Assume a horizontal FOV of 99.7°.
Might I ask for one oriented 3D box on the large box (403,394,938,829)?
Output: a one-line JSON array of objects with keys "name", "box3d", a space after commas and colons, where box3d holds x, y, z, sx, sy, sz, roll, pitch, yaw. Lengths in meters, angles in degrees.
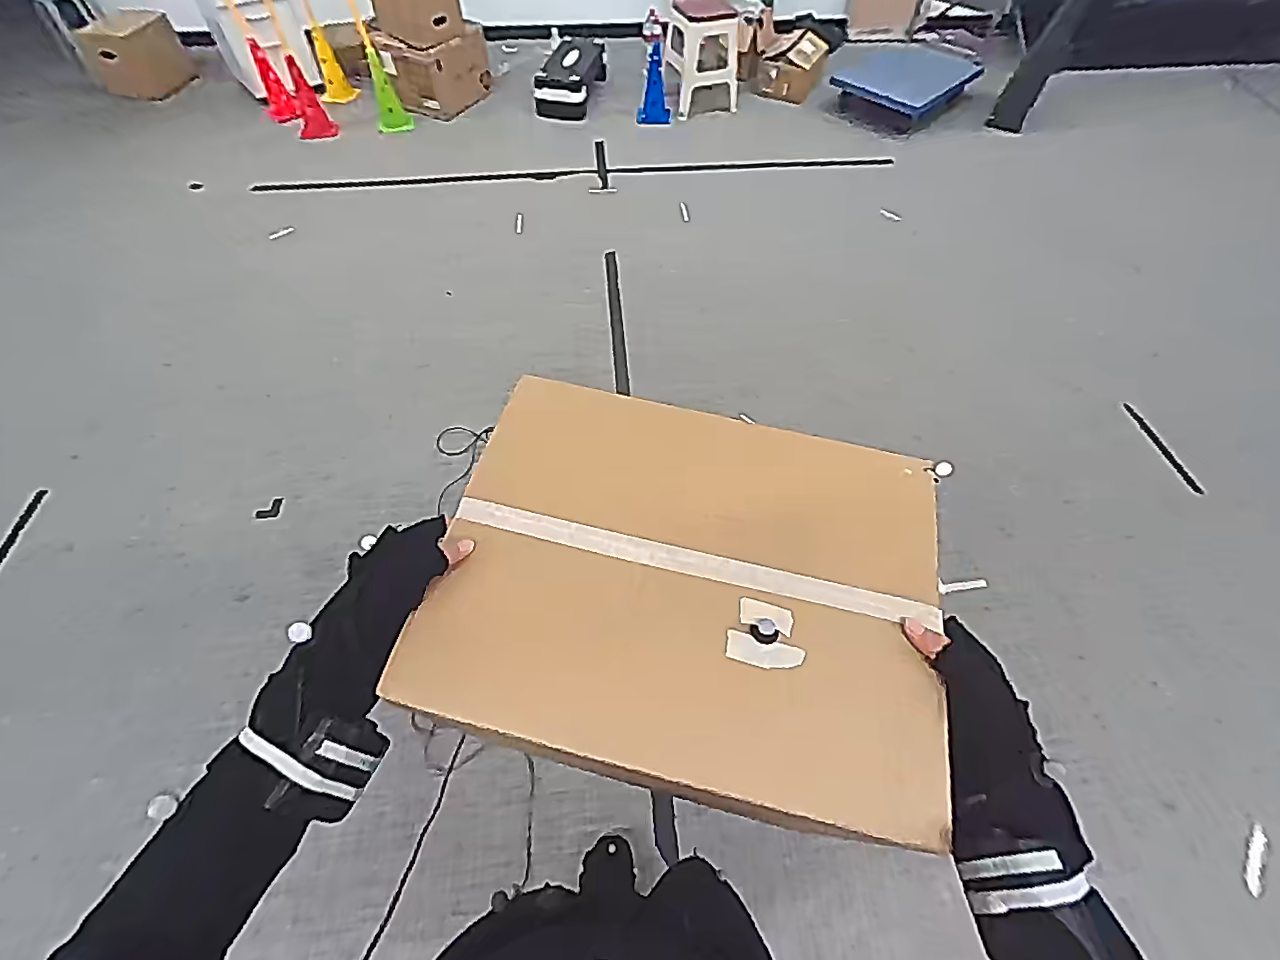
[{"name": "large box", "box3d": [0.039, 0.152, 0.591, 0.408, 0.320, 0.320, 13, 59, 6]}]
